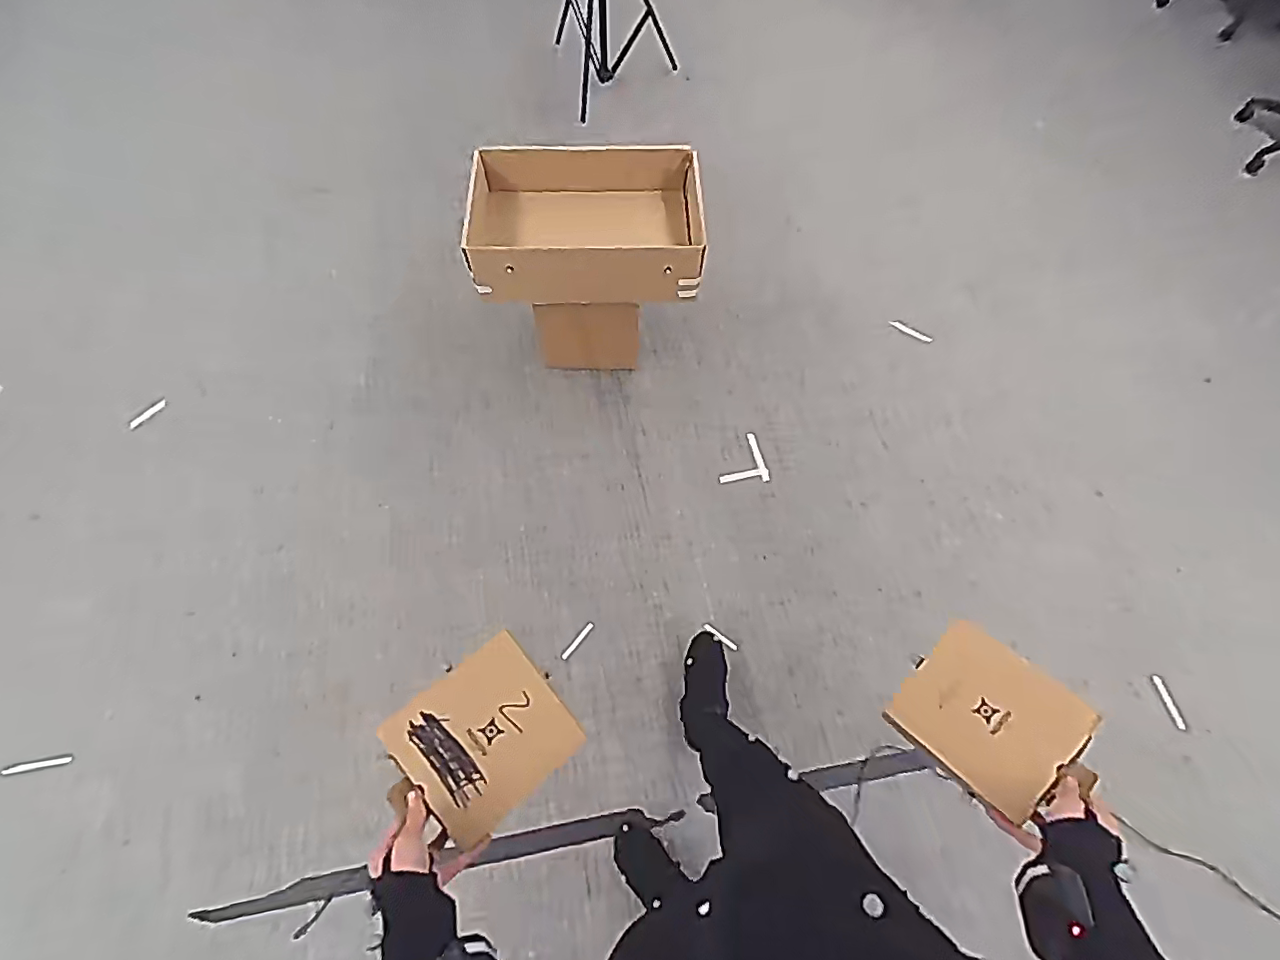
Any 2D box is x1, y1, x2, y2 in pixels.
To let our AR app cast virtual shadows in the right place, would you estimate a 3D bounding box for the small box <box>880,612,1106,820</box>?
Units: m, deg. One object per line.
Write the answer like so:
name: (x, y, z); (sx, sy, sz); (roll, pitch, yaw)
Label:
small box: (0.447, 0.306, 0.719); (0.168, 0.176, 0.179); (-47, 58, -5)
